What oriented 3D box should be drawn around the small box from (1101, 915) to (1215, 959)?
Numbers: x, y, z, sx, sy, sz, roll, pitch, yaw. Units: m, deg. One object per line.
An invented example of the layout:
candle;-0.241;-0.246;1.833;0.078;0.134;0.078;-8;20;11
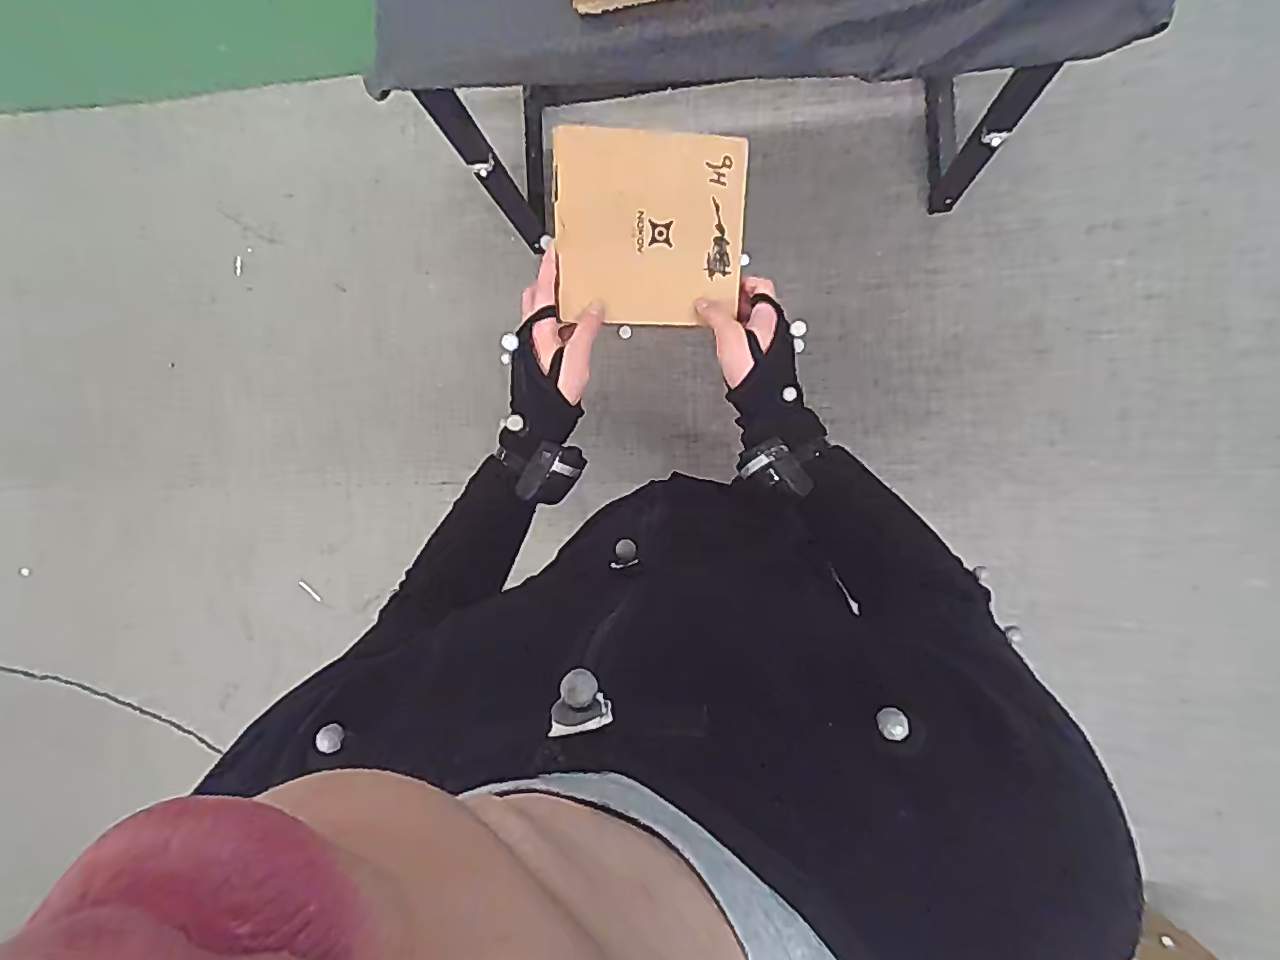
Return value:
small box;1.108;1.062;1.124;0.168;0.176;0.179;-2;87;7
